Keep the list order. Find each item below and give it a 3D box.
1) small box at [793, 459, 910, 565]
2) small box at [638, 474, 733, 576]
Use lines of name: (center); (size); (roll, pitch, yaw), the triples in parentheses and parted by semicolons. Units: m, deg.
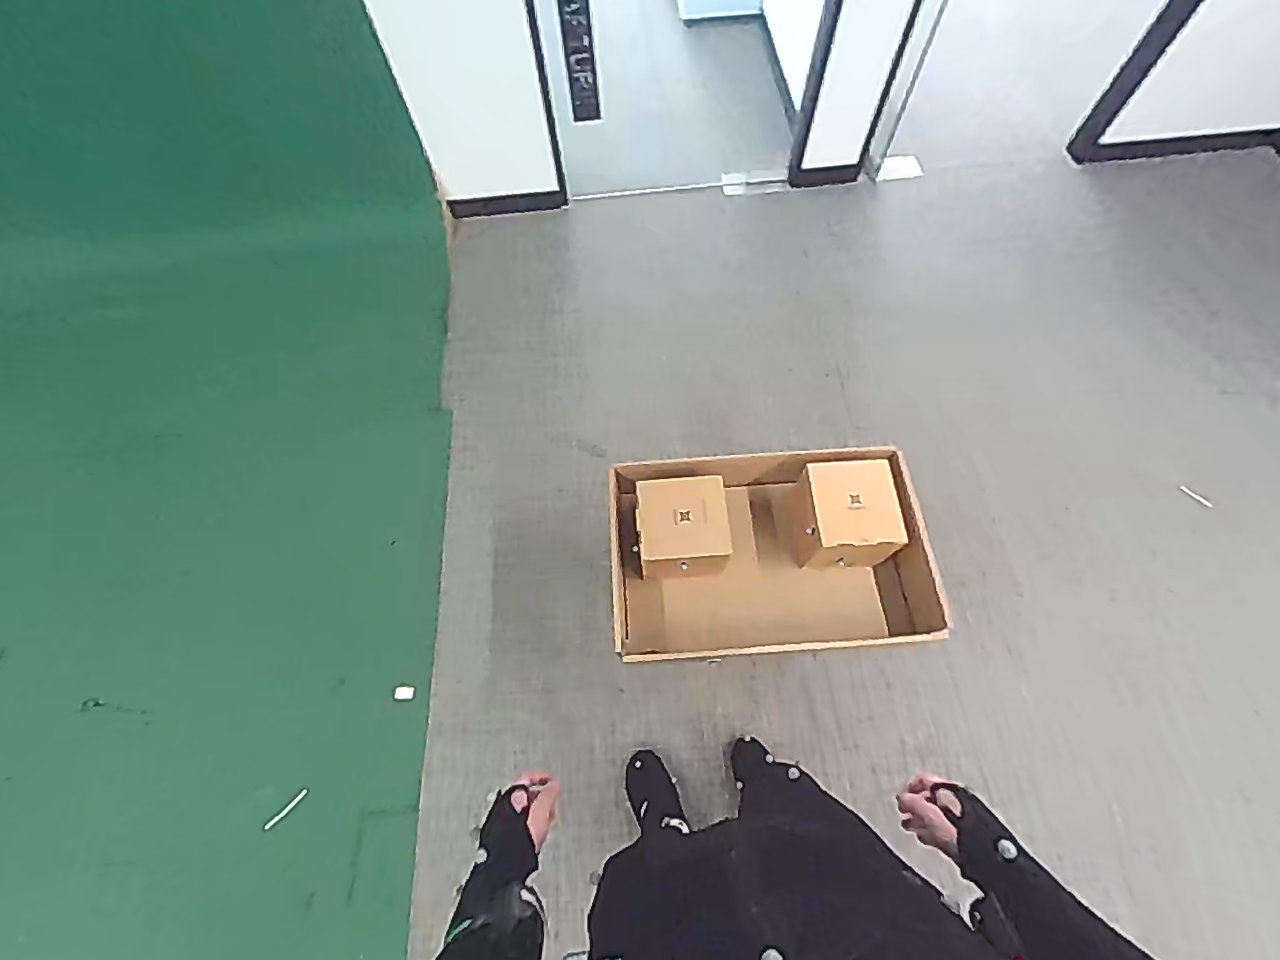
small box: (0.427, 0.070, 1.122); (0.168, 0.176, 0.179); (-2, 67, 0)
small box: (0.090, 0.099, 1.121); (0.179, 0.176, 0.168); (-3, 67, 0)
